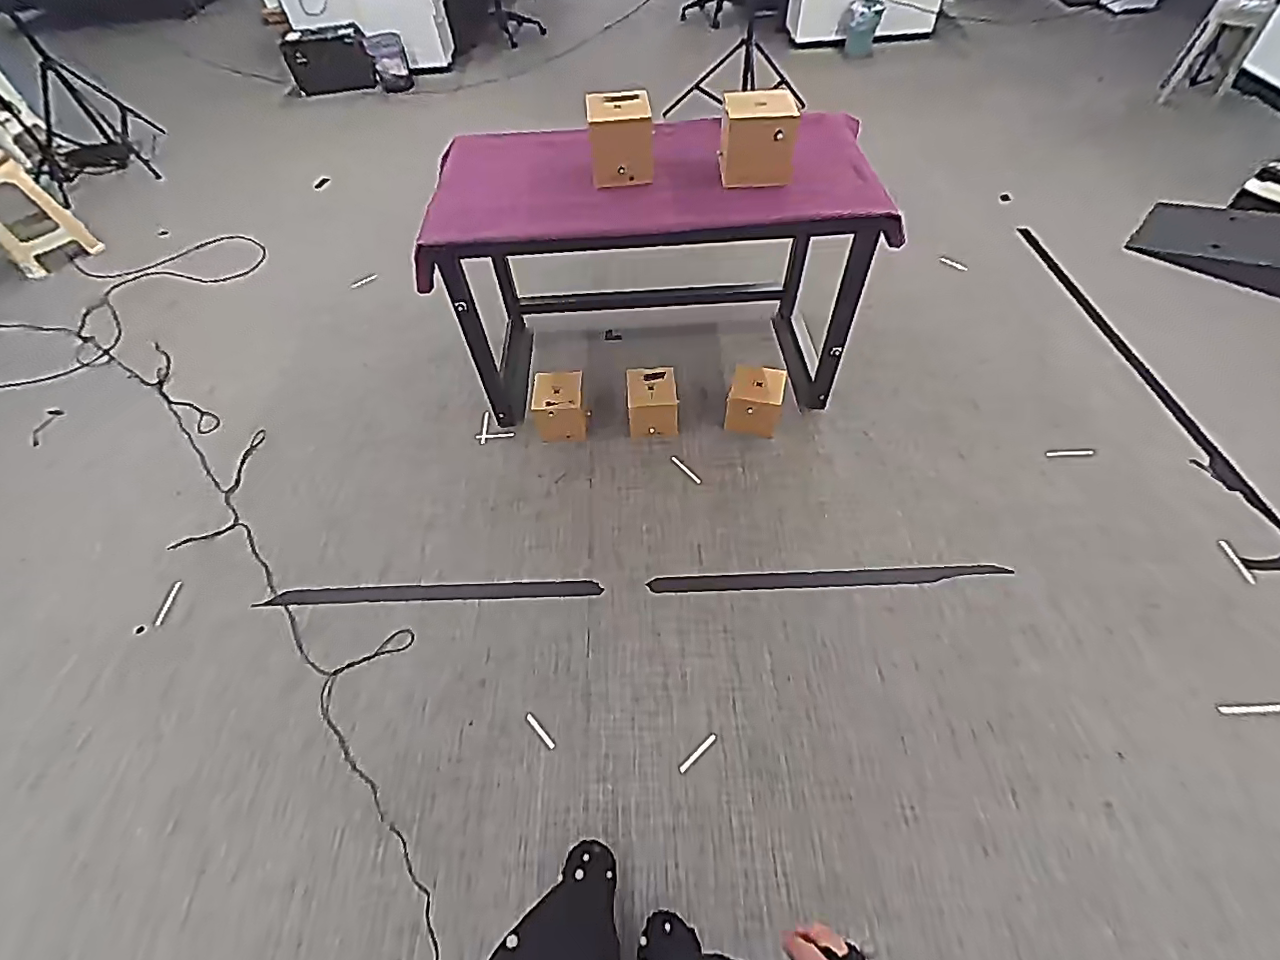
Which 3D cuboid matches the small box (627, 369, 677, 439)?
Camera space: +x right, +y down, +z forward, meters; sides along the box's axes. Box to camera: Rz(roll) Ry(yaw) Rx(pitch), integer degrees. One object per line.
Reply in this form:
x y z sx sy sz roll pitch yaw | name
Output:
0.041 -0.263 1.890 0.168 0.176 0.179 -4 55 1 | small box

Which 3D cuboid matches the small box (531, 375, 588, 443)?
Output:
-0.276 -0.250 1.901 0.168 0.176 0.179 -2 53 2 | small box

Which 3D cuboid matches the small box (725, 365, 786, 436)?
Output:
0.397 -0.270 1.876 0.179 0.176 0.168 10 56 12 | small box

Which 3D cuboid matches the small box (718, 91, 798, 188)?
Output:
0.305 -0.899 1.433 0.179 0.176 0.168 -2 53 3 | small box
